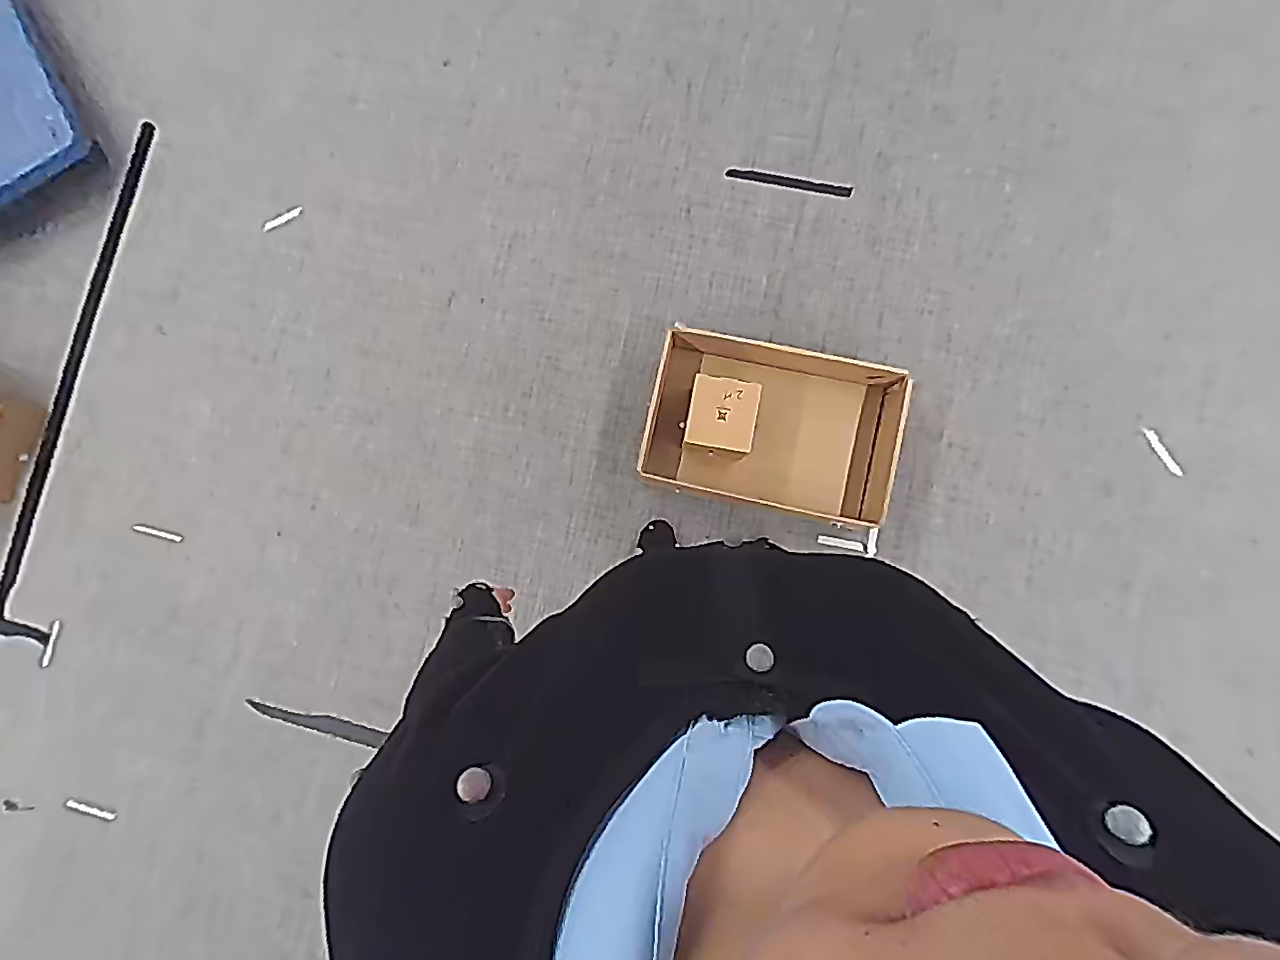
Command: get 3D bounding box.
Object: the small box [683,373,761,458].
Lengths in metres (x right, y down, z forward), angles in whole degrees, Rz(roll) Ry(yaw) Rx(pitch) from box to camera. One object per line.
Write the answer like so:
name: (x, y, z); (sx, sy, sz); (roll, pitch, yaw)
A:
small box: (0.206, -0.158, 1.397); (0.168, 0.176, 0.179); (11, 87, 3)
